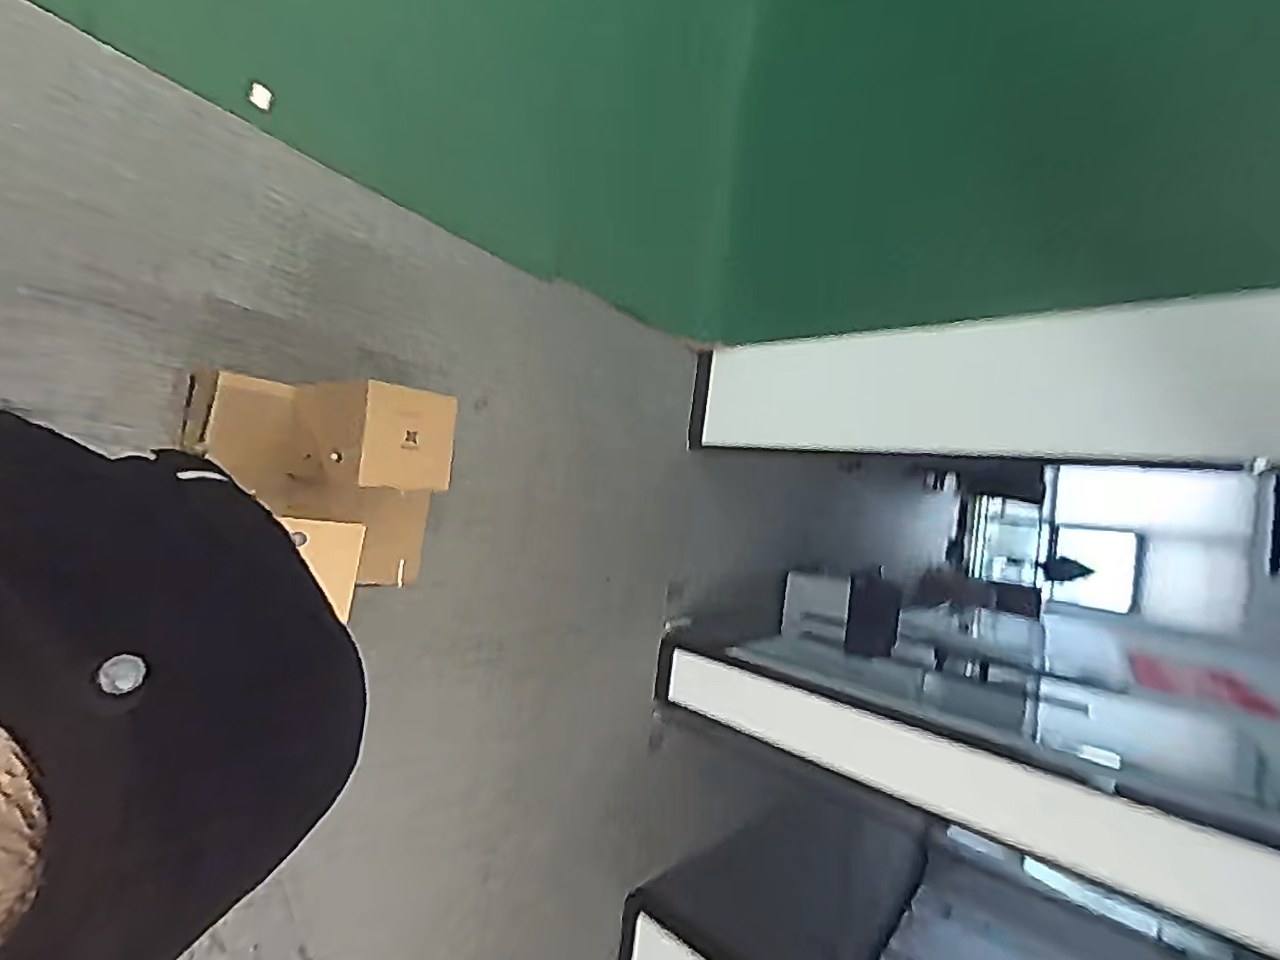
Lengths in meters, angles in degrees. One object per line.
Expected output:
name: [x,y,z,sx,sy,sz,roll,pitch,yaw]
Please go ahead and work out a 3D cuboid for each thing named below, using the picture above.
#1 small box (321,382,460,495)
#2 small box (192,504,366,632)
small box: [-0.458,-0.072,0.987,0.168,0.176,0.179,9,87,-52]
small box: [-0.576,0.135,0.866,0.179,0.176,0.168,14,85,-49]
